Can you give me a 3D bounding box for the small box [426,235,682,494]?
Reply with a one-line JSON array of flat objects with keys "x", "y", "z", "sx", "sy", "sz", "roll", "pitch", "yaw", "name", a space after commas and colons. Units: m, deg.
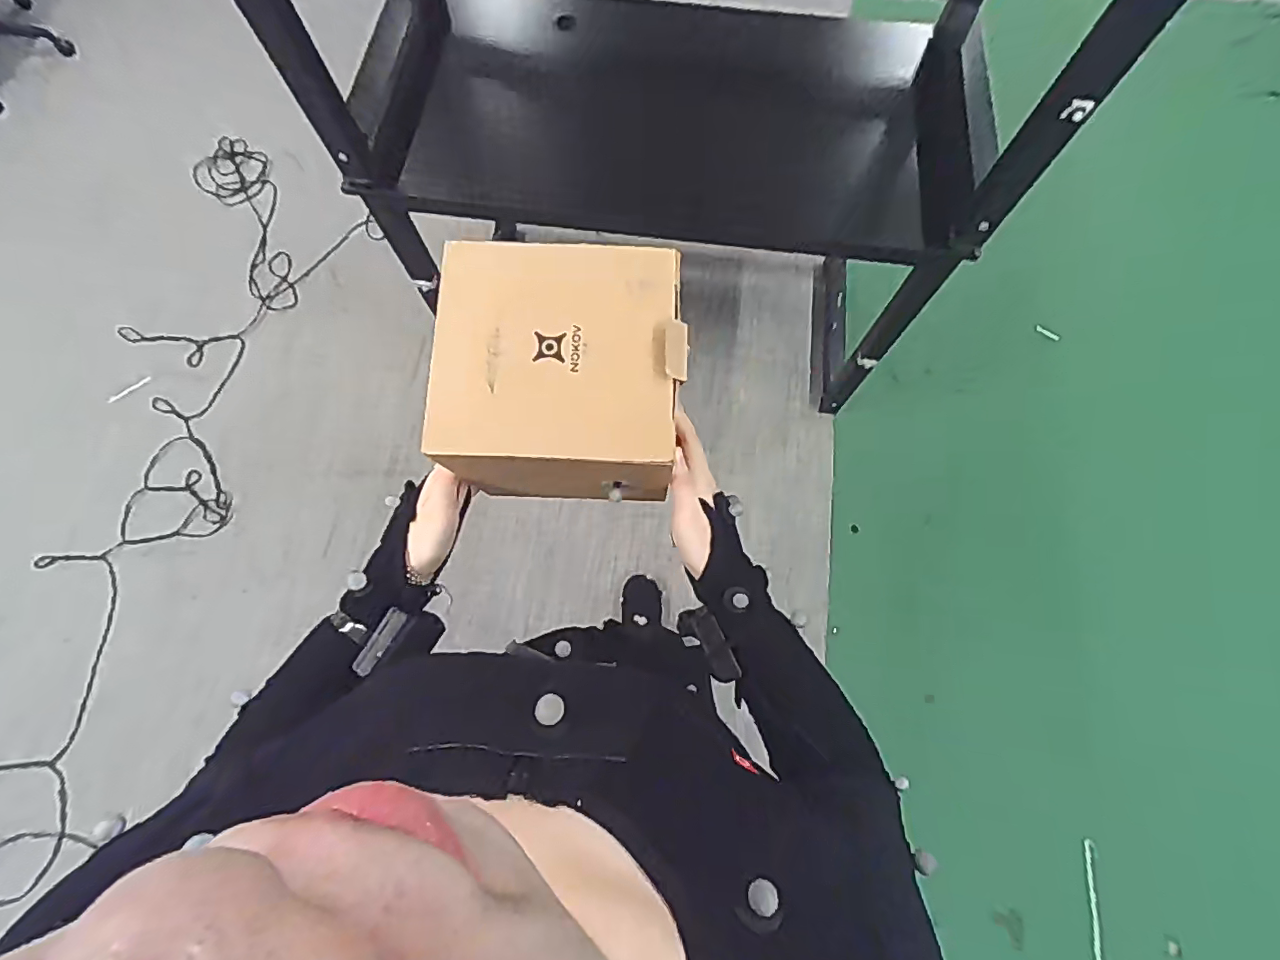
[{"x": -0.058, "y": -0.083, "z": 0.463, "sx": 0.179, "sy": 0.176, "sz": 0.168, "roll": 1, "pitch": 79, "yaw": 2, "name": "small box"}]
